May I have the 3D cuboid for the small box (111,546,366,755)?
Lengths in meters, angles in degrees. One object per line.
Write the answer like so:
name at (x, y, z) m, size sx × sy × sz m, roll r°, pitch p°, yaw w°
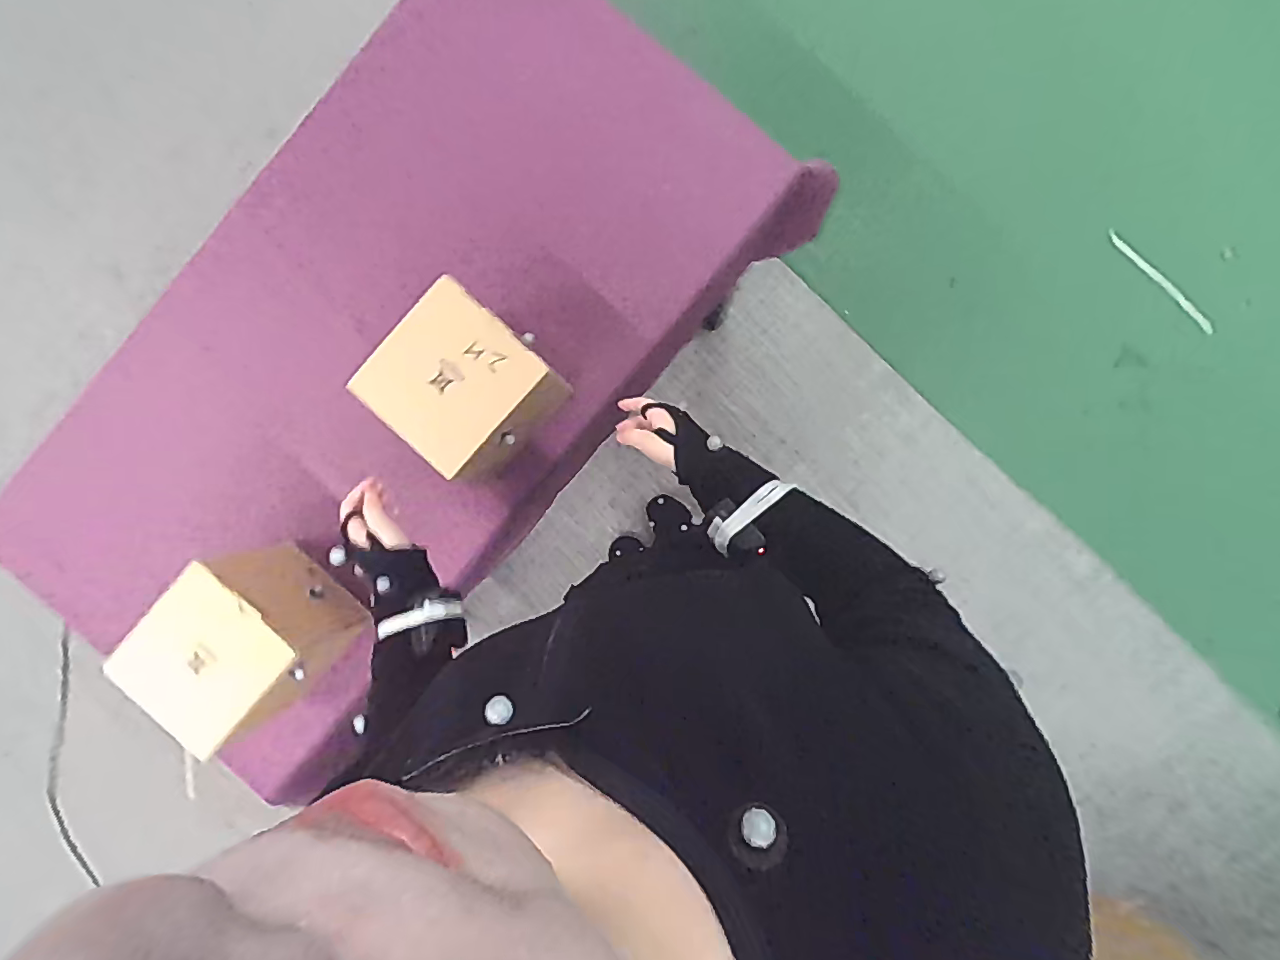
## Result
small box at (-0.510, 0.209, 0.716) m, size 0.168 × 0.176 × 0.179 m, roll 41°, pitch 91°, yaw 1°
